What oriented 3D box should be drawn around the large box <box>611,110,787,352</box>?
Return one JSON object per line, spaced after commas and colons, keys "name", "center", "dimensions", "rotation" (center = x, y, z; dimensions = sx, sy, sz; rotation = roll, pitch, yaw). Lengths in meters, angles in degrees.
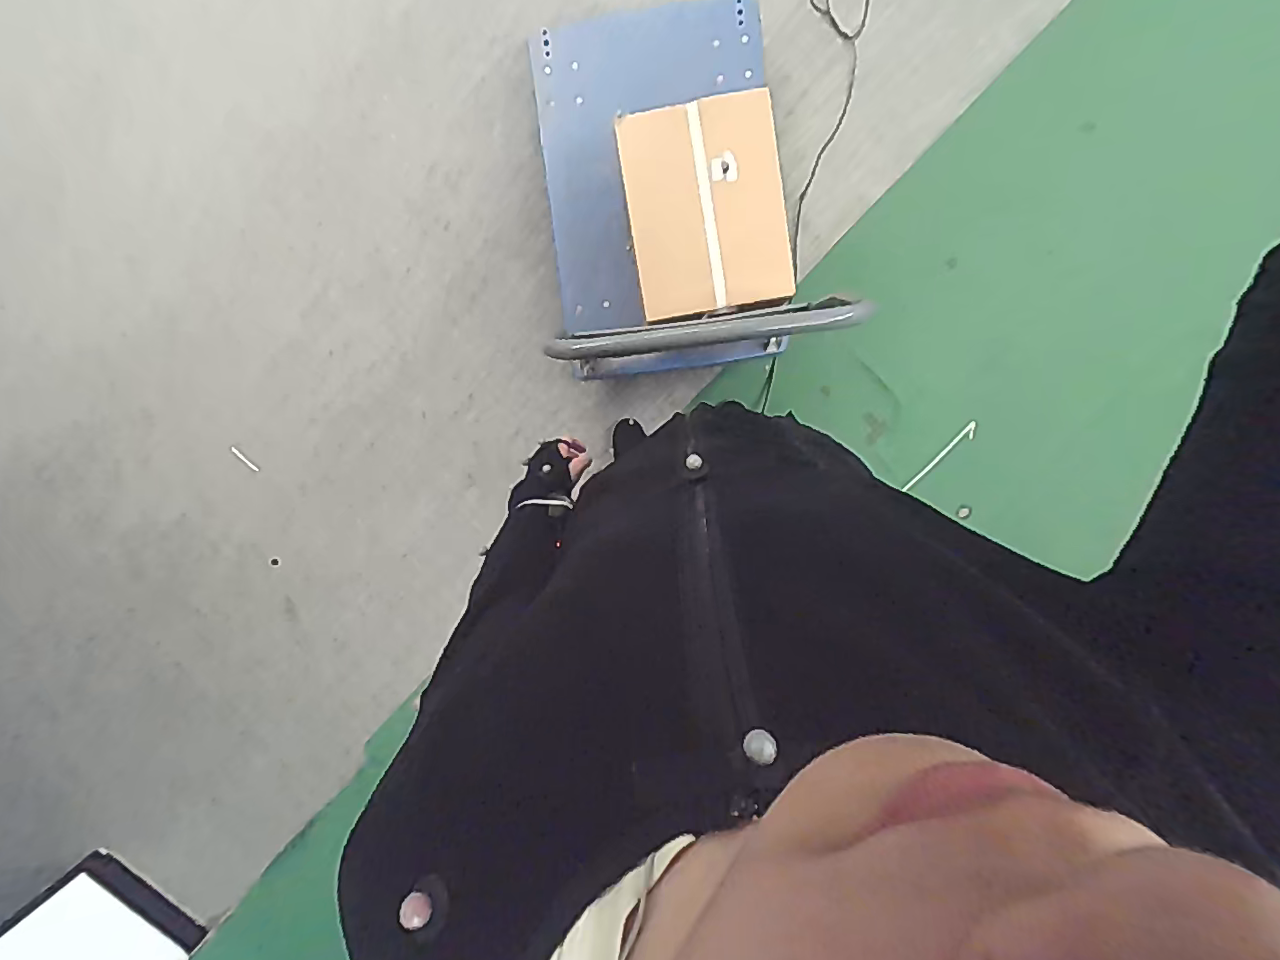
{"name": "large box", "center": [0.130, -0.547, 1.269], "dimensions": [0.320, 0.320, 0.408], "rotation": [-10, 95, 2]}
